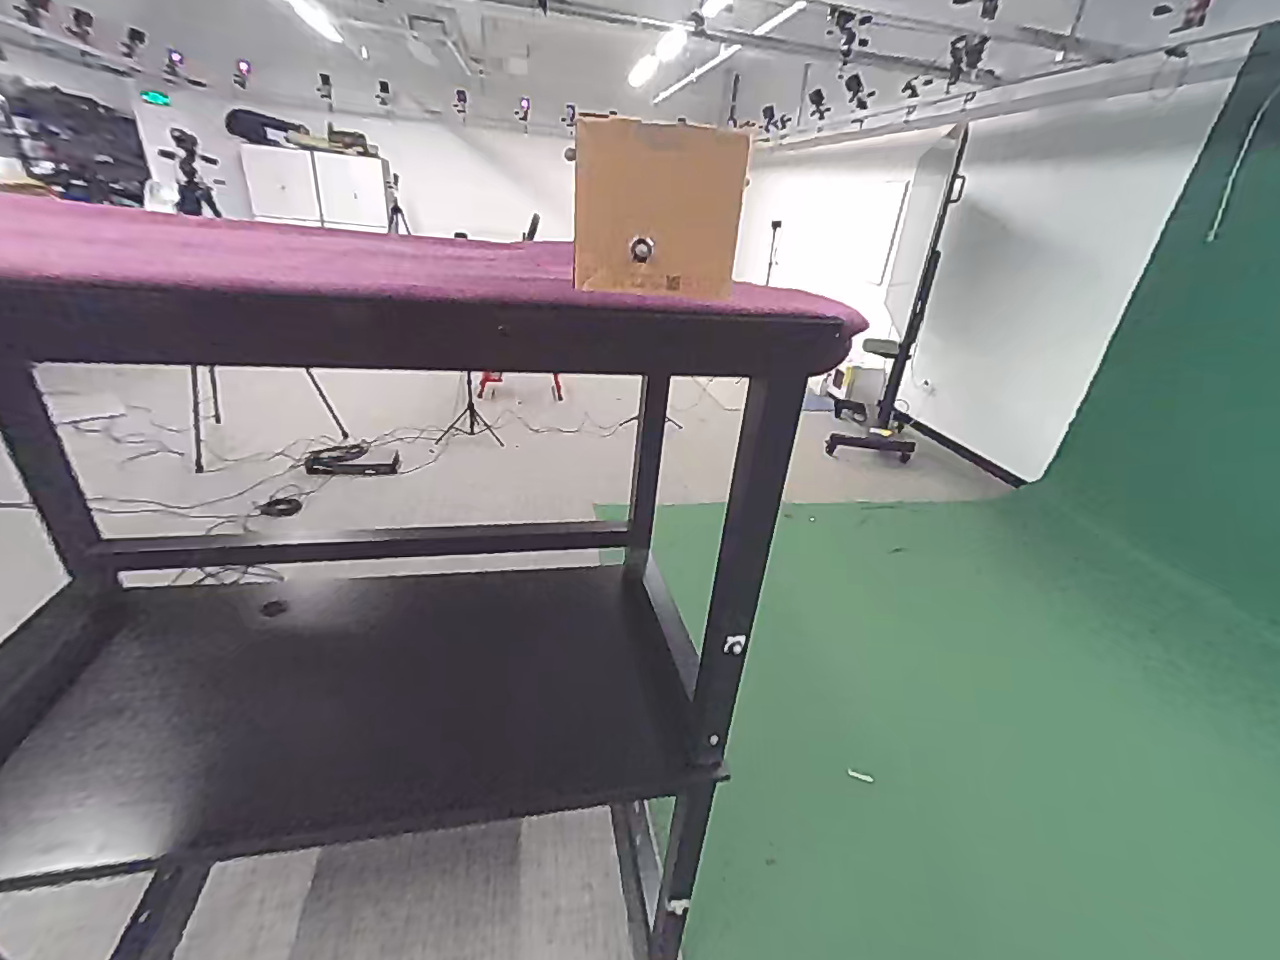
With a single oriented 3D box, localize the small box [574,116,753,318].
[{"bbox_3d":[0.016,-0.290,0.608,0.168,0.176,0.179,3,28,-3],"label":"small box"}]
